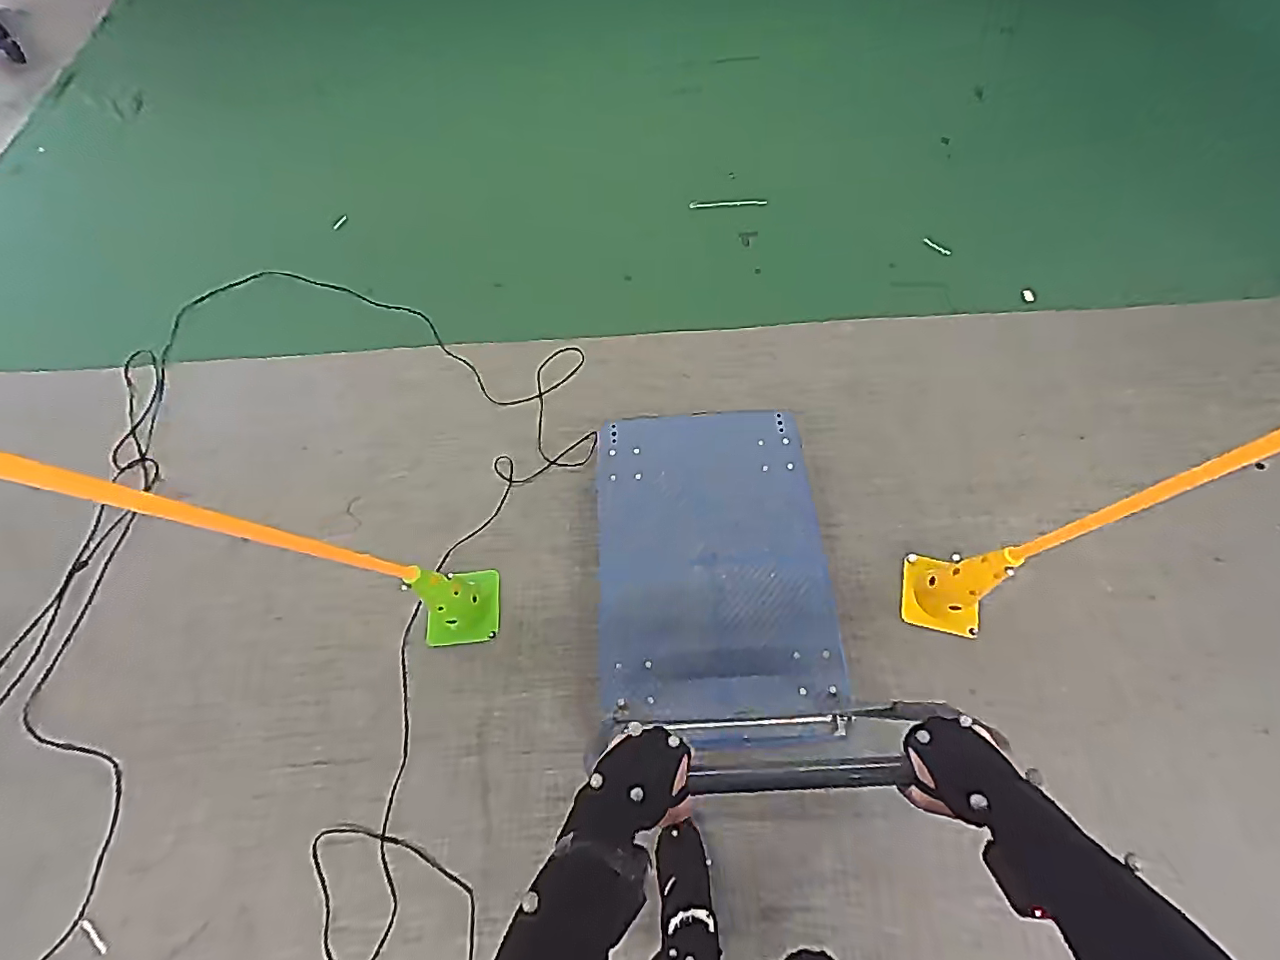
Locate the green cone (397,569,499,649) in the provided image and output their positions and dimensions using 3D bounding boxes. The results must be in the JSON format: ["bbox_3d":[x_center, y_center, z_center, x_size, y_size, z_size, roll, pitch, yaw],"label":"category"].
[{"bbox_3d":[-0.507,0.290,1.367,0.202,0.368,0.200,-7,64,1],"label":"green cone"}]
